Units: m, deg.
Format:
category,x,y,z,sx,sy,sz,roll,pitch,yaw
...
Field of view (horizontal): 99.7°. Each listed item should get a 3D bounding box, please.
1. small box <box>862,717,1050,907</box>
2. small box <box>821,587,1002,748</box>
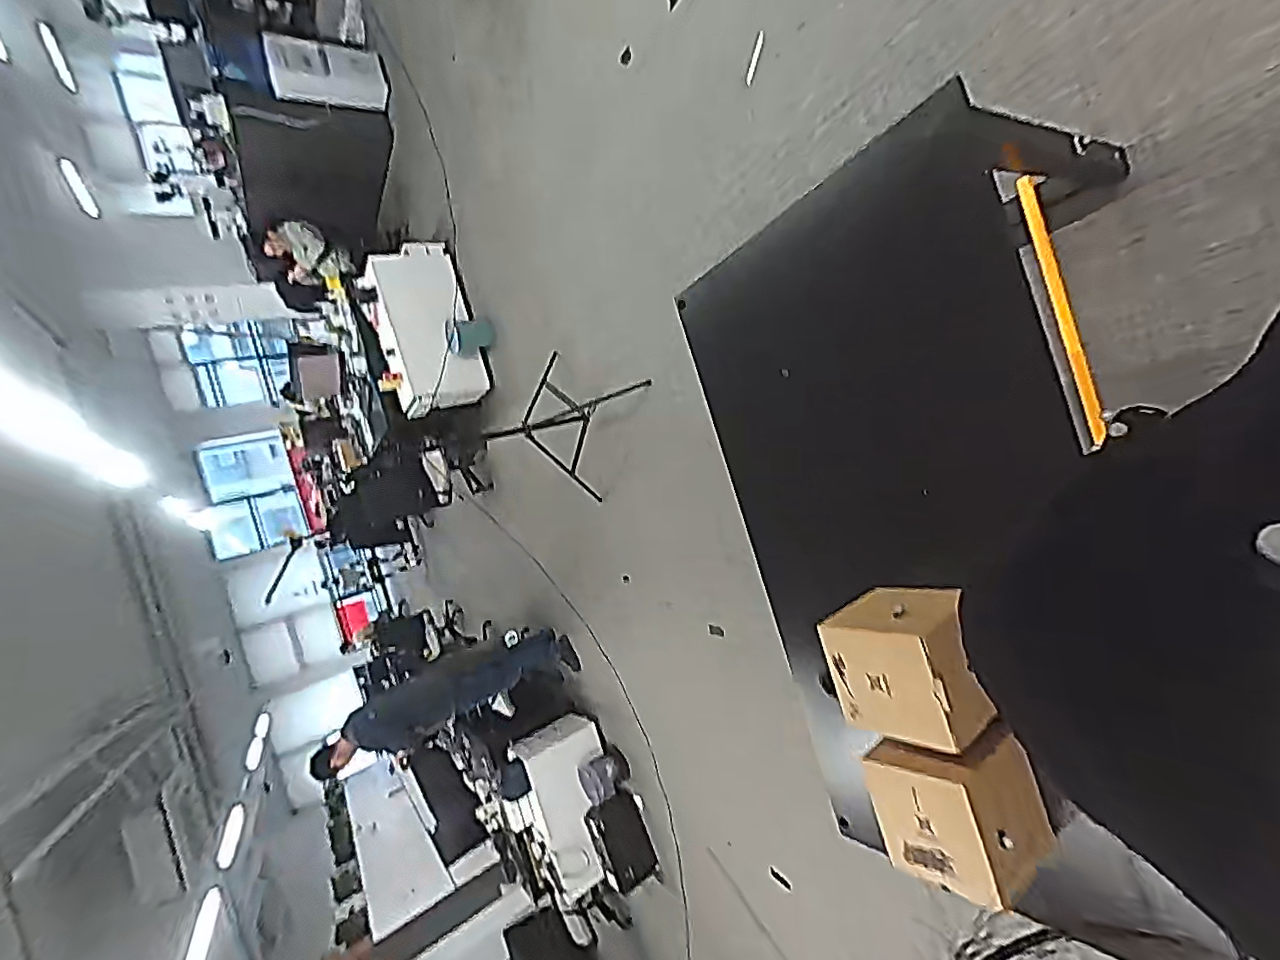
category,x,y,z,sx,sy,sz,roll,pitch,yaw
small box,0.478,0.474,0.818,0.168,0.176,0.179,-21,85,57
small box,0.416,0.268,0.821,0.179,0.176,0.168,-17,90,57
